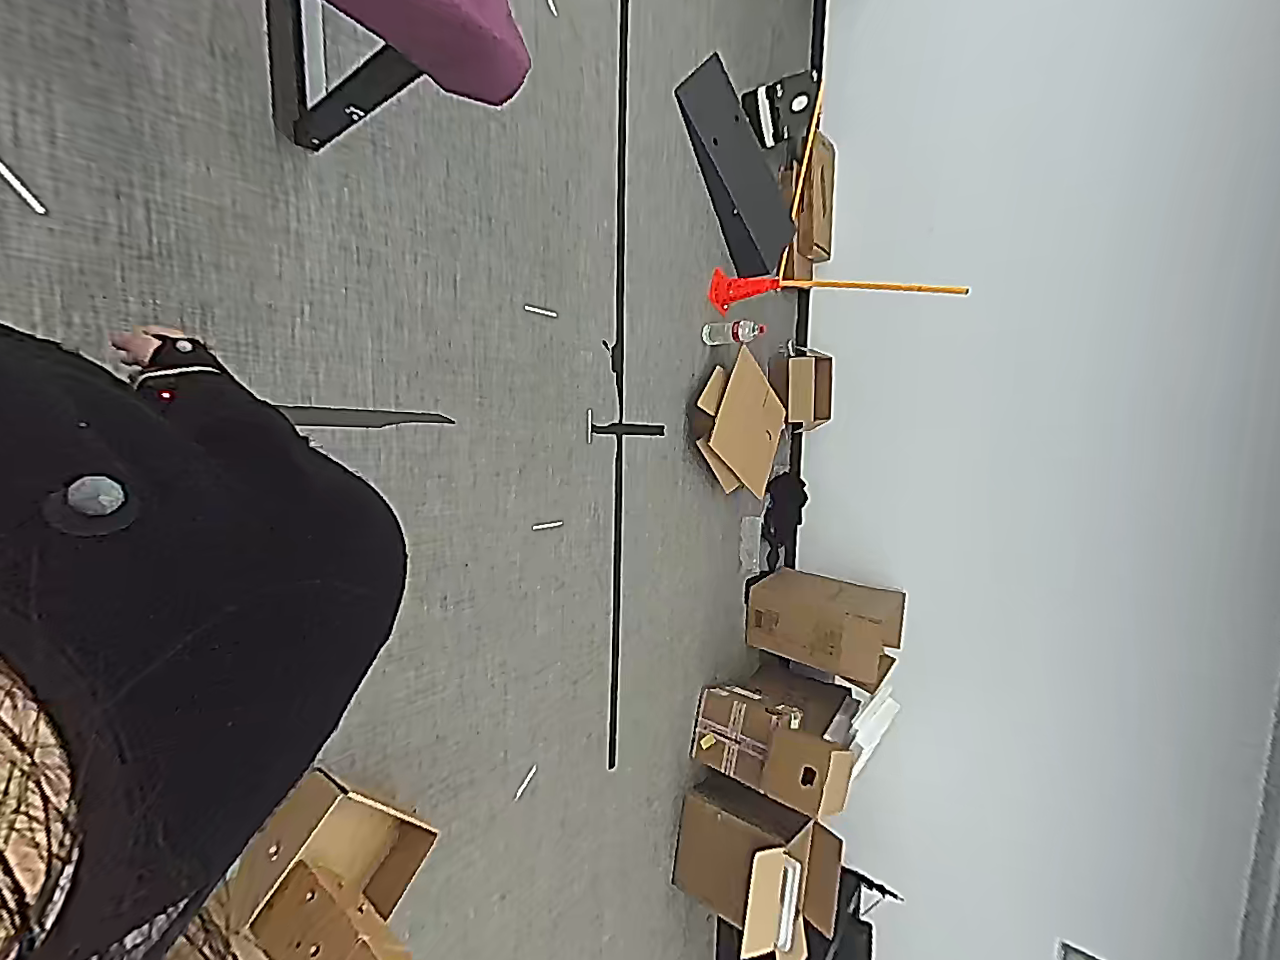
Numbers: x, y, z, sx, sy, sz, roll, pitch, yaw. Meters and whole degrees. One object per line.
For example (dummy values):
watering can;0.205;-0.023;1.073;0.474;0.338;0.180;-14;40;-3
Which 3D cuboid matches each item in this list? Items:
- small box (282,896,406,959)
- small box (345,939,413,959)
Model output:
small box;-0.714;1.144;1.295;0.168;0.176;0.179;-54;134;-32
small box;-0.585;1.170;1.198;0.168;0.176;0.179;-55;135;-32
